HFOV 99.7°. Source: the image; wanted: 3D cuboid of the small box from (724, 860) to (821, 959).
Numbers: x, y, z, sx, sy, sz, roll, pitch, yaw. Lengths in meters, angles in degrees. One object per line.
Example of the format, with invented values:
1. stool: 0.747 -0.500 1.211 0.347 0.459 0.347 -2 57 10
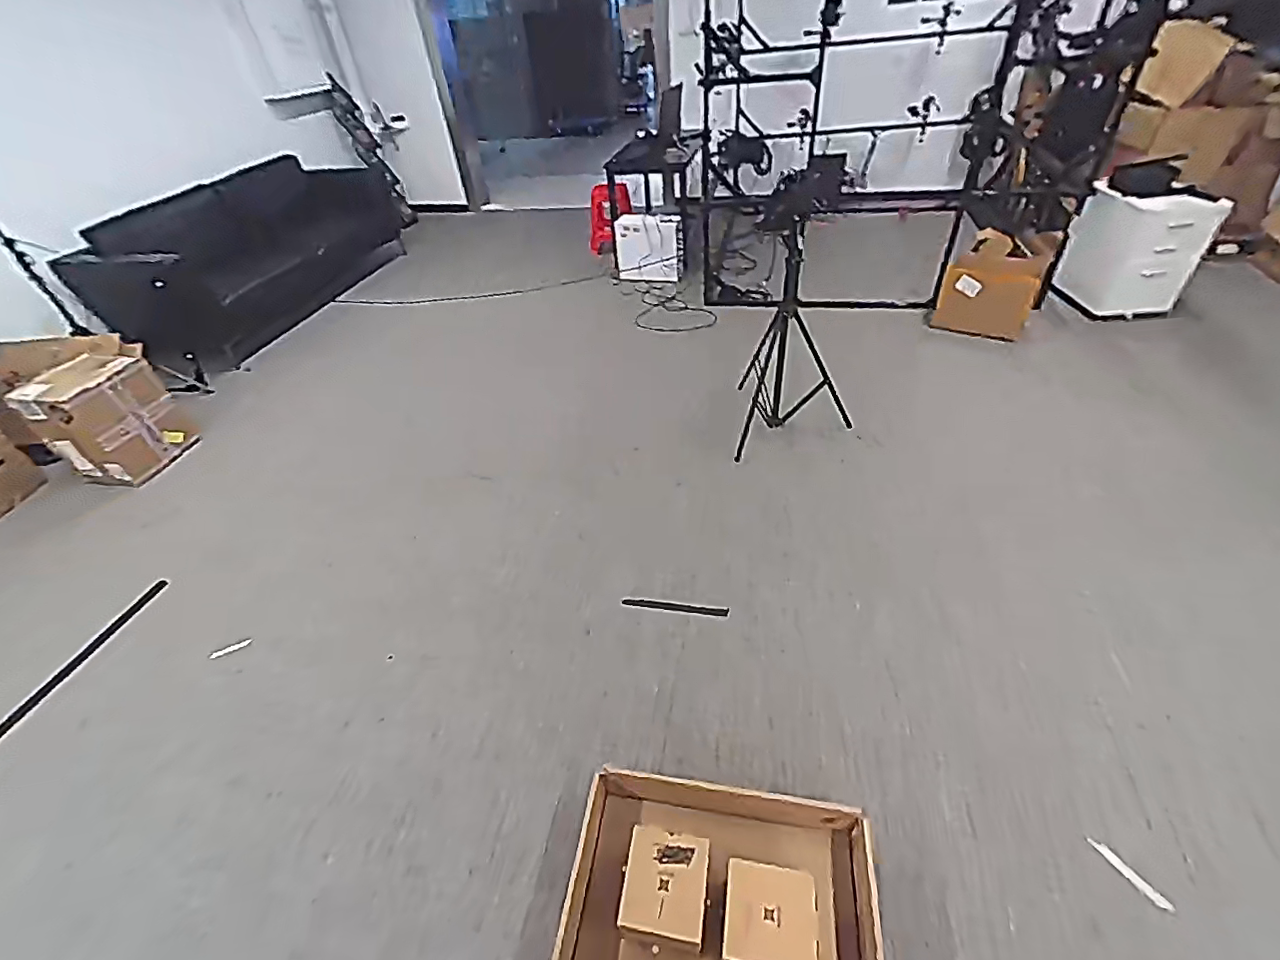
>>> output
1. small box: 0.264 0.904 1.092 0.179 0.176 0.168 2 40 13
